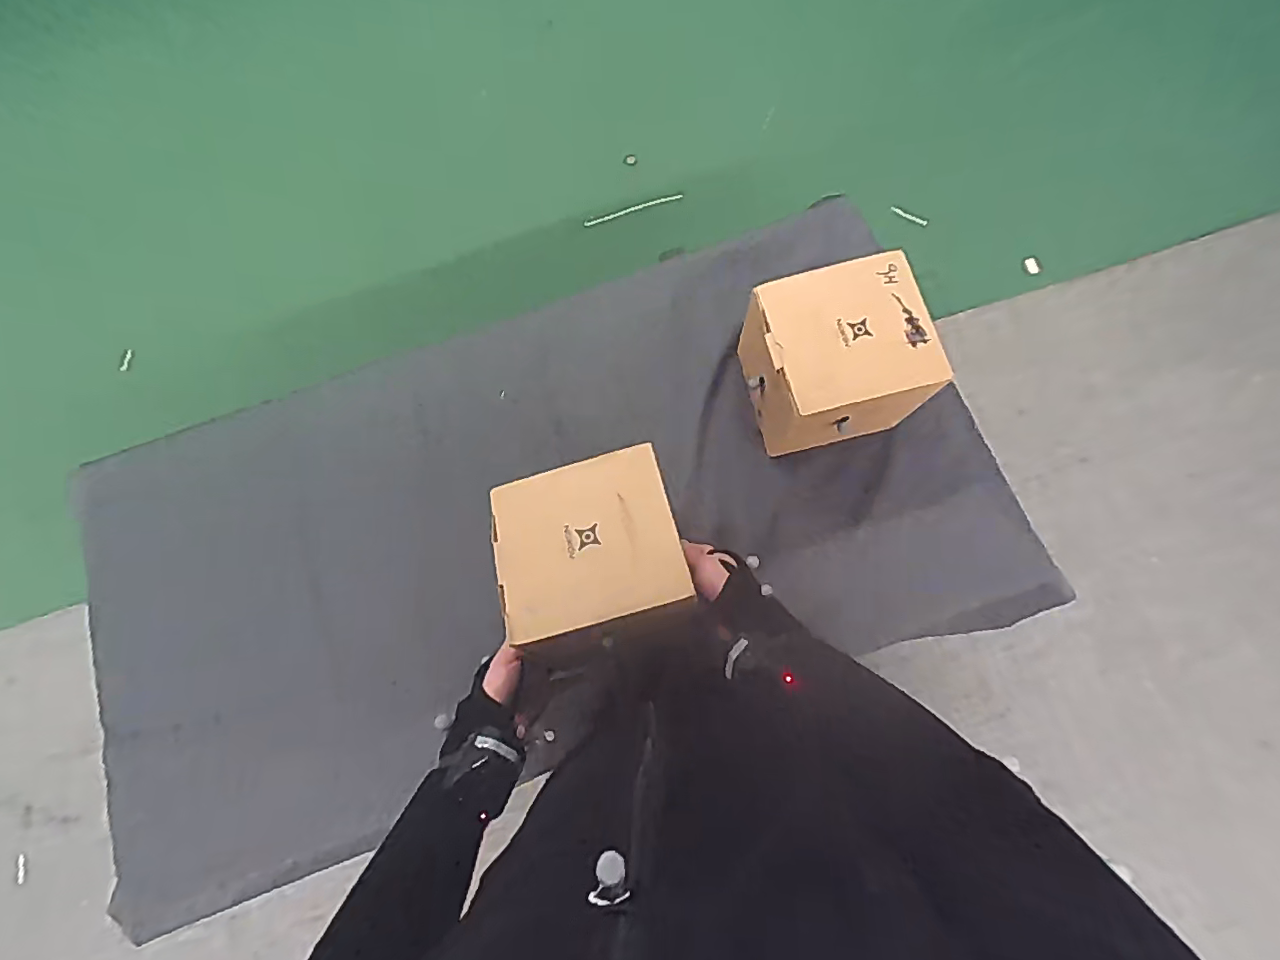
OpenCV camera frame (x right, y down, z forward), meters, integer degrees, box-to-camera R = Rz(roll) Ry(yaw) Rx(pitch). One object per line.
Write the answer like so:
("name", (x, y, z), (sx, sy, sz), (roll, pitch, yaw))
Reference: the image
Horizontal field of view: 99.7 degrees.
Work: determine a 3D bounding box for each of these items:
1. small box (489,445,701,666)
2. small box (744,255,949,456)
("small box", (-0.041, 0.092, 0.588), (0.179, 0.176, 0.168), (-17, 63, 0))
("small box", (0.235, -0.141, 0.673), (0.179, 0.176, 0.168), (-14, 77, 1))
